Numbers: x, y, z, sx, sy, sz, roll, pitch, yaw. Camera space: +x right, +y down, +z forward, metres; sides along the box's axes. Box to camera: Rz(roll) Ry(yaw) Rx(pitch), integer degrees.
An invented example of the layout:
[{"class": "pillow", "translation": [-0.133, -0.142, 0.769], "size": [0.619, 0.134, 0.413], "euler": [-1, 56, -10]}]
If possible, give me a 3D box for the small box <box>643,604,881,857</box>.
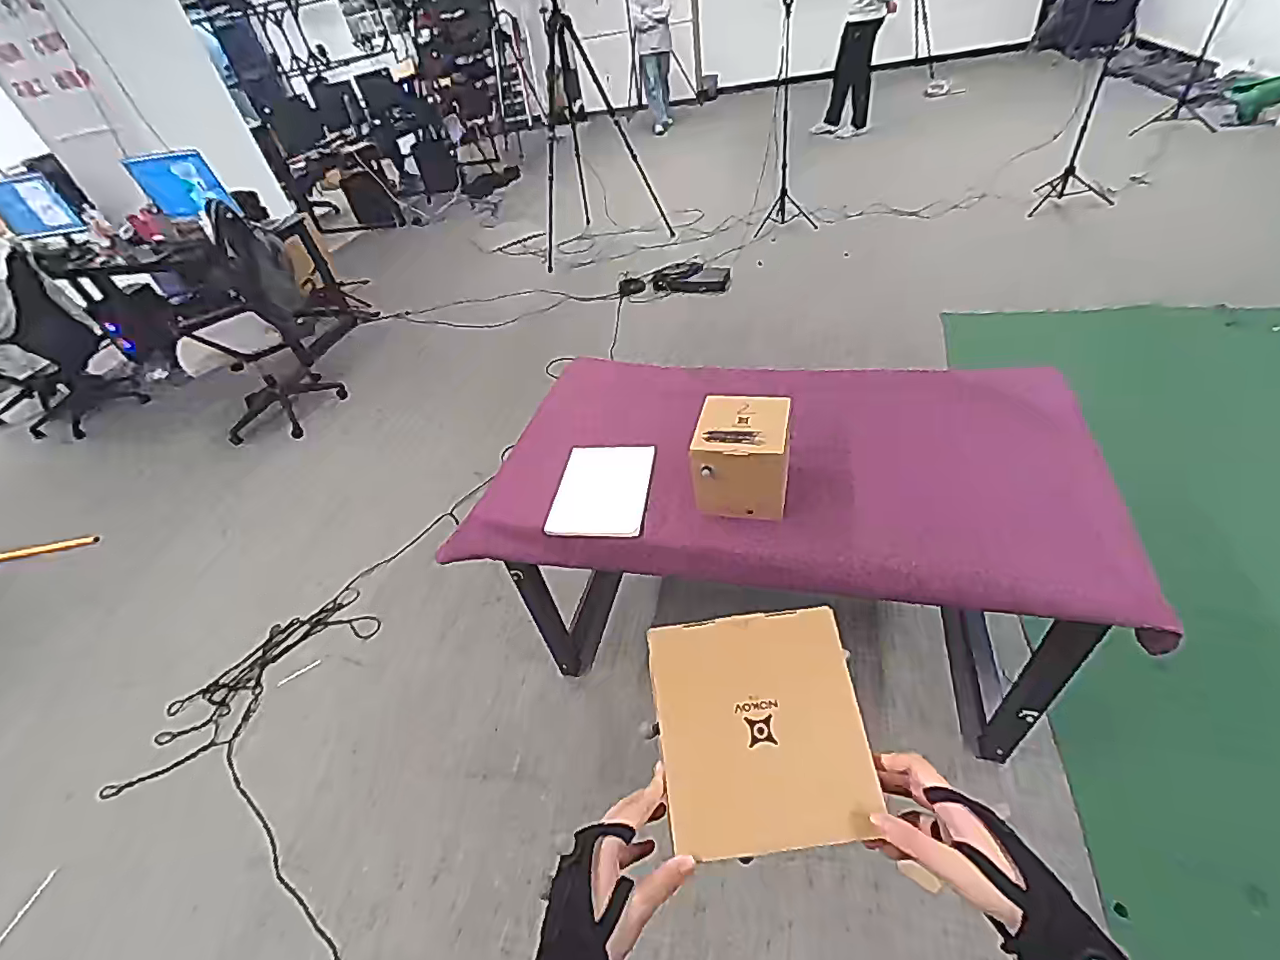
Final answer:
[{"class": "small box", "translation": [0.096, 0.232, 0.512], "size": [0.168, 0.176, 0.179], "euler": [-7, 62, -1]}]
